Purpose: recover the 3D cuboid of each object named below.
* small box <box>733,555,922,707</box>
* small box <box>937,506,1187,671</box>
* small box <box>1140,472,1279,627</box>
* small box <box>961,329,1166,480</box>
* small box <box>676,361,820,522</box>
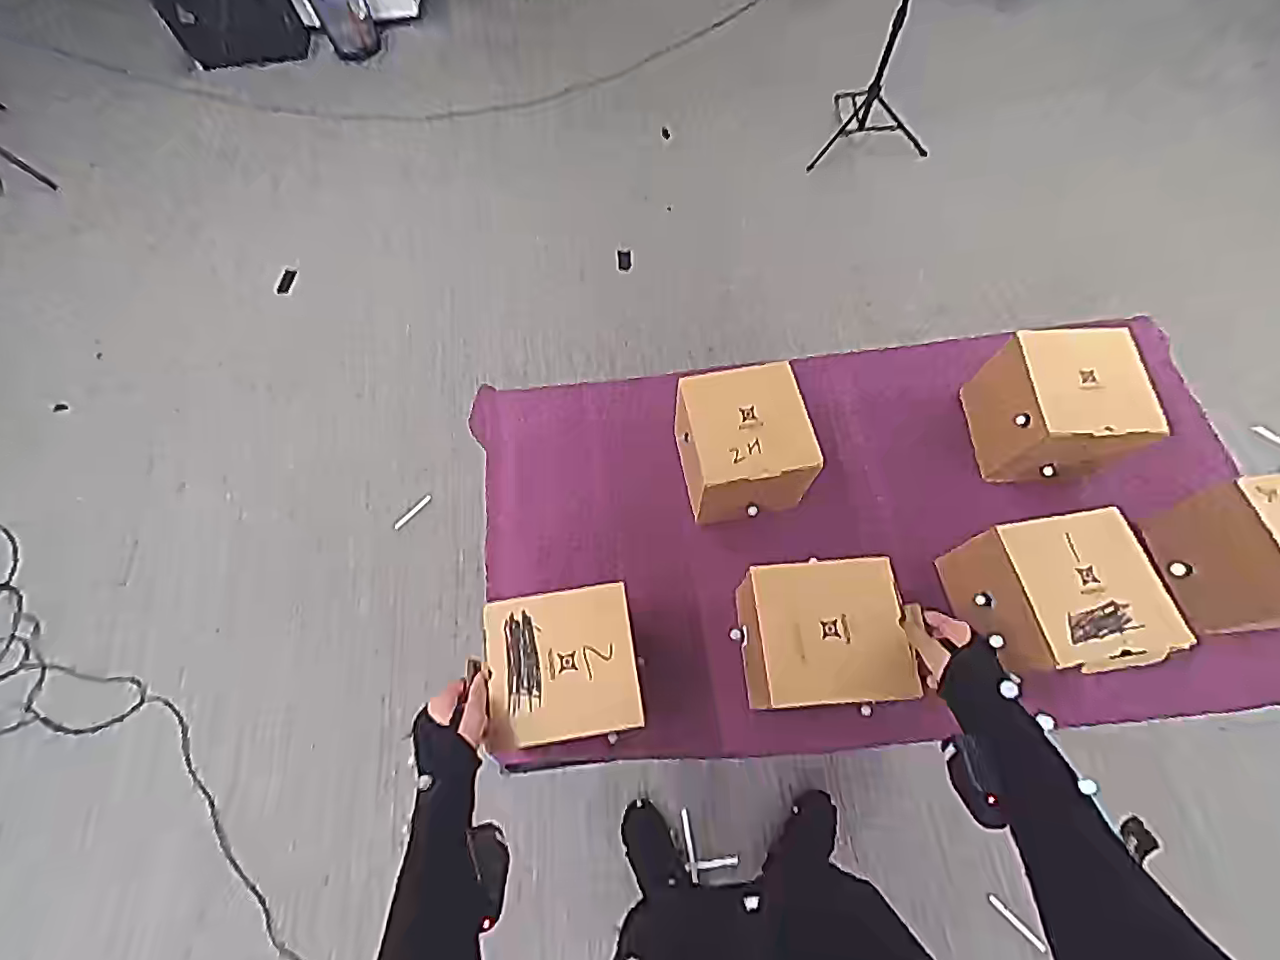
[{"bbox_3d":[0.229,0.204,0.712,0.179,0.176,0.168,-4,65,0],"label":"small box"},{"bbox_3d":[0.538,0.154,0.723,0.168,0.176,0.179,-8,65,-2],"label":"small box"},{"bbox_3d":[0.856,0.099,0.735,0.168,0.176,0.179,-5,64,0],"label":"small box"},{"bbox_3d":[0.635,-0.113,0.842,0.168,0.176,0.179,-1,67,2],"label":"small box"},{"bbox_3d":[0.151,-0.053,0.831,0.168,0.176,0.179,-10,67,-2],"label":"small box"}]
